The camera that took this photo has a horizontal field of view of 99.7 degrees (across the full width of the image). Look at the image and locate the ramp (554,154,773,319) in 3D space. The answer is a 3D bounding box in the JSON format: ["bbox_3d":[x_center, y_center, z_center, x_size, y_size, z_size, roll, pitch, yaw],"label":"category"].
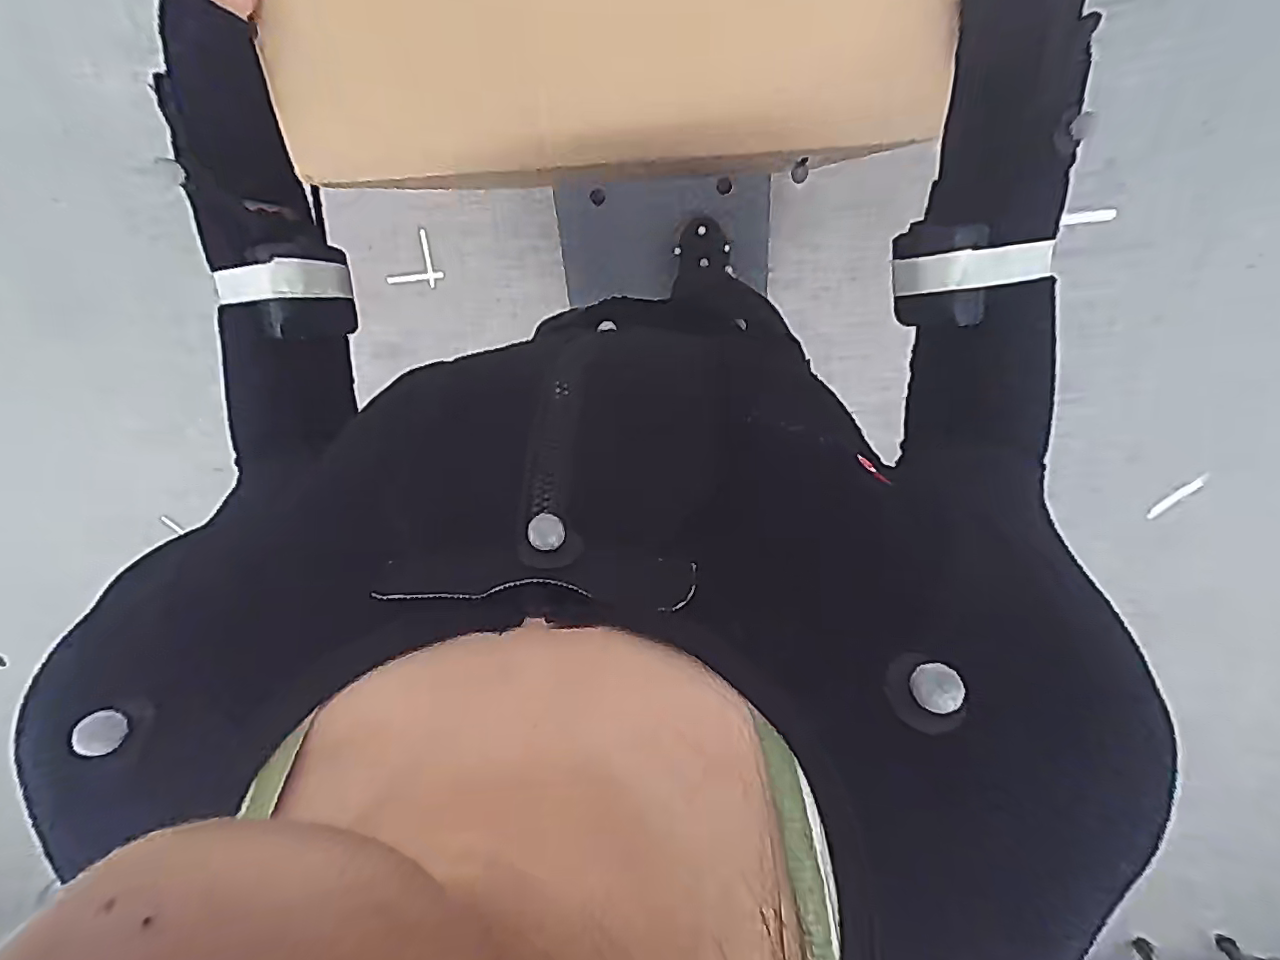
[{"bbox_3d":[0.034,-0.846,1.111,0.509,0.206,0.991,-4,112,6],"label":"ramp"}]

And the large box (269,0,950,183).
[{"bbox_3d":[-0.017,-0.416,0.410,0.408,0.320,0.320,-1,117,5],"label":"large box"}]
